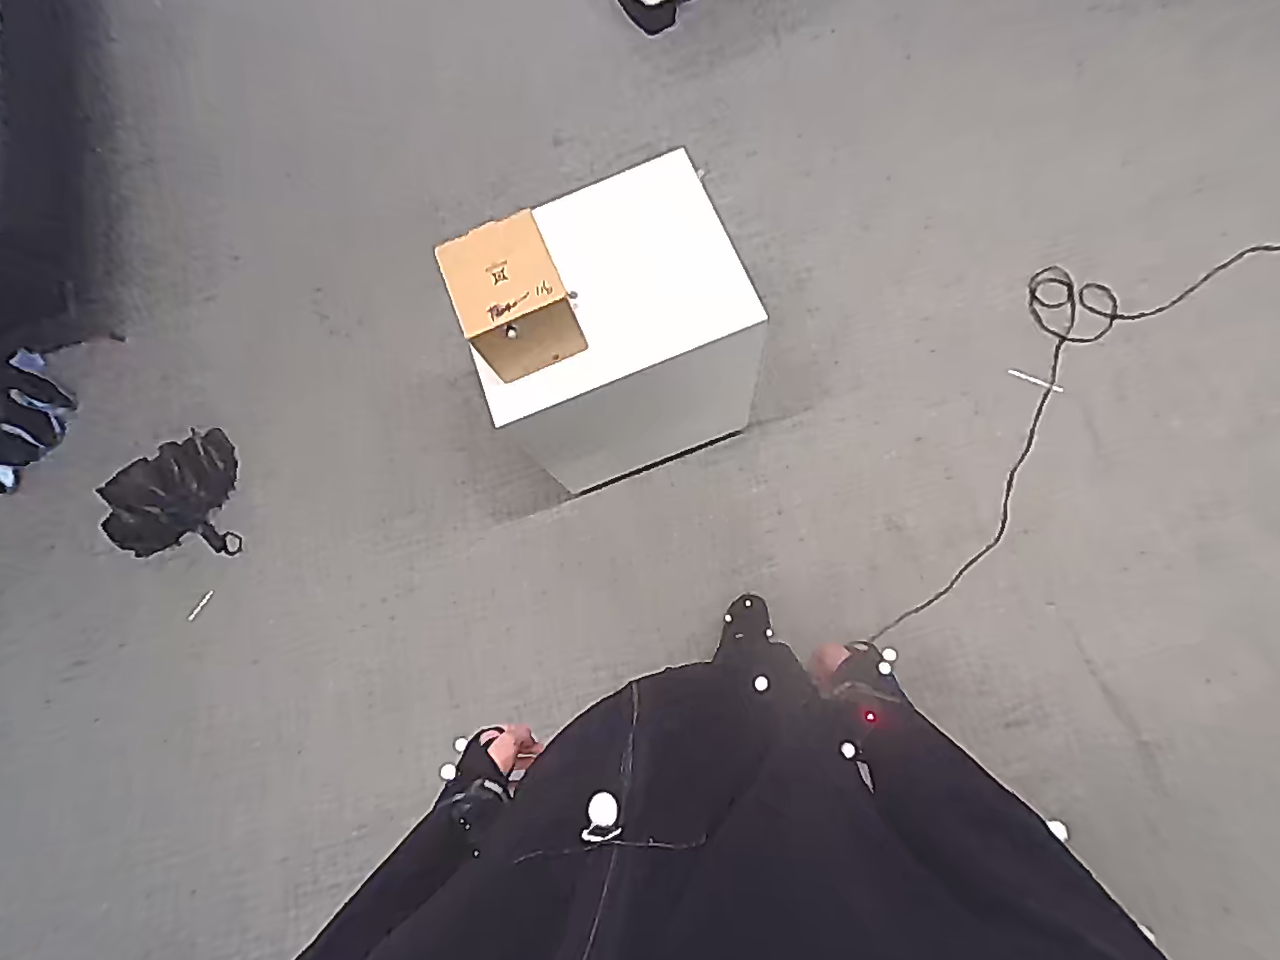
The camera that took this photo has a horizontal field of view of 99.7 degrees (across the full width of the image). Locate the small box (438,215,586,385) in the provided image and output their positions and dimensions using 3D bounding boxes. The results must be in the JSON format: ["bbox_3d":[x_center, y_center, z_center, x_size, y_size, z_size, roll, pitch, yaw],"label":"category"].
[{"bbox_3d":[-0.205,-0.291,0.902,0.168,0.176,0.179,-23,73,1],"label":"small box"}]
